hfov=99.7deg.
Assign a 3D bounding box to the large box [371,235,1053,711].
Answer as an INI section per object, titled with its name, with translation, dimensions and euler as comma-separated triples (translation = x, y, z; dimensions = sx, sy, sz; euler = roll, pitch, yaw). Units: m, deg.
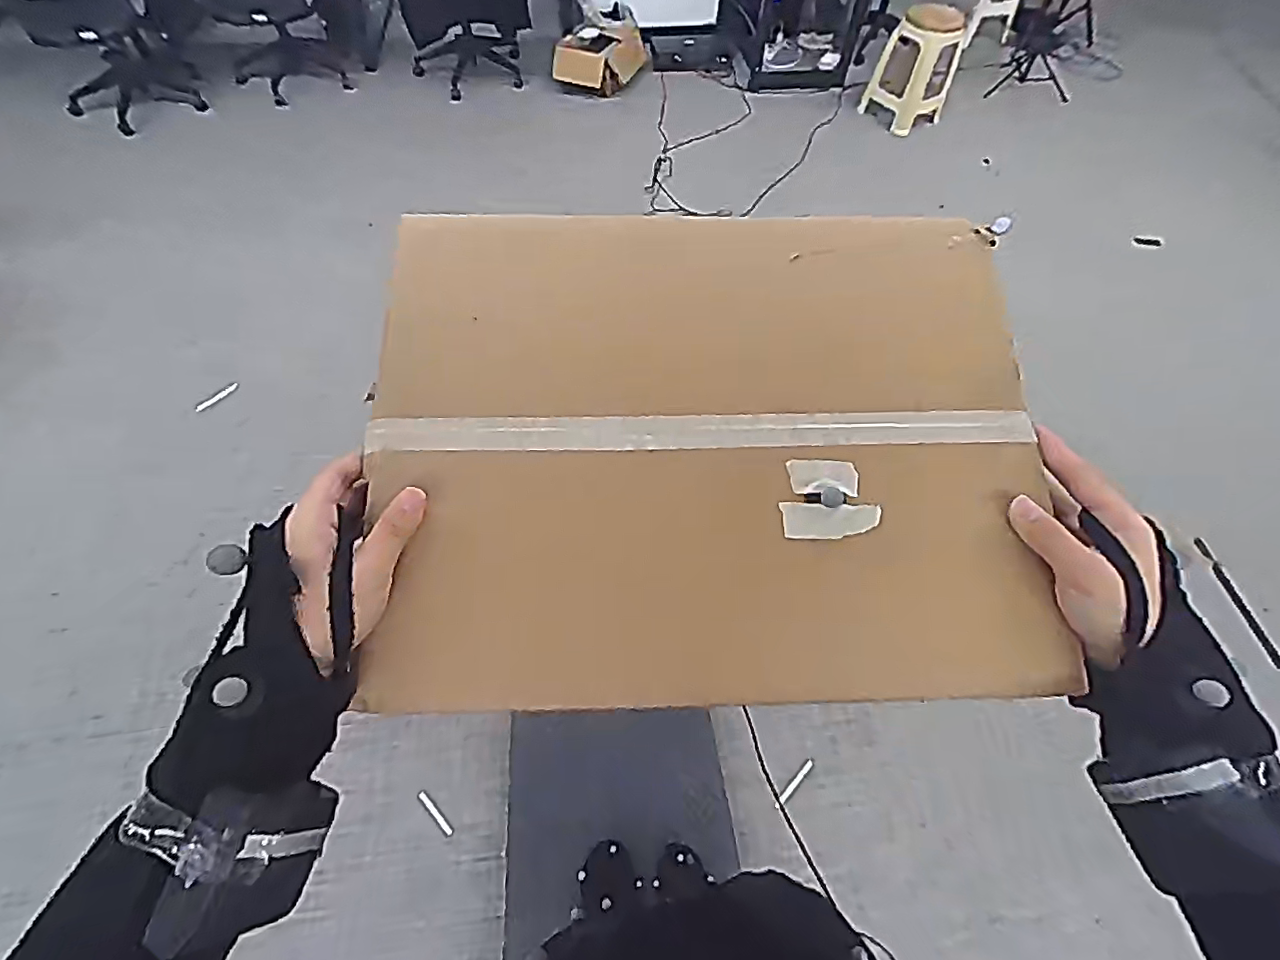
[large box]
translation = 0.034, 0.013, 0.489
dimensions = 0.408, 0.320, 0.320
euler = -1, 76, -2
